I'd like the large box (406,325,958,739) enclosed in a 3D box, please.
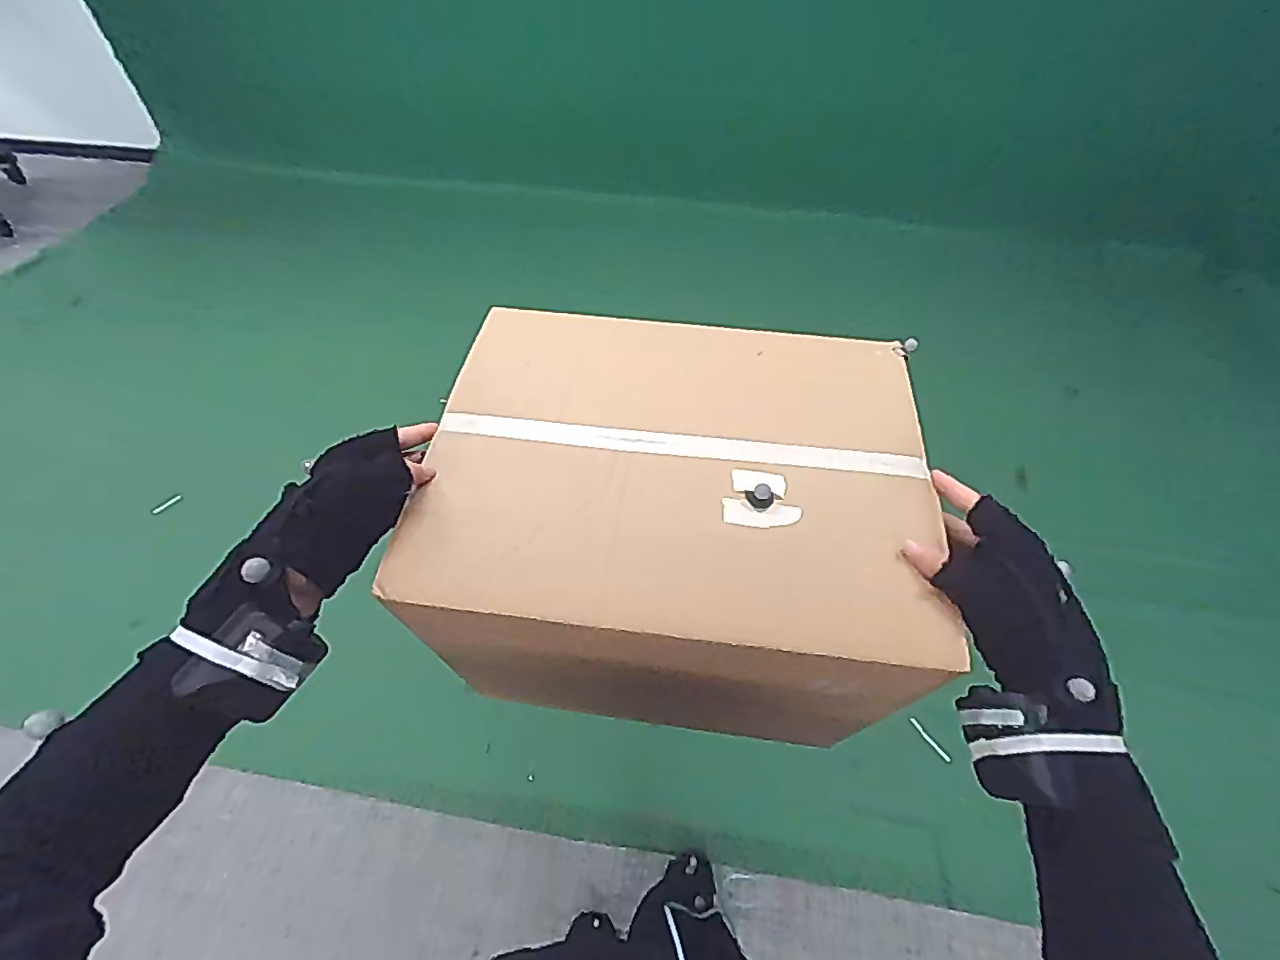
[{"bbox_3d":[0.037,0.067,0.587,0.408,0.320,0.320,7,56,3],"label":"large box"}]
